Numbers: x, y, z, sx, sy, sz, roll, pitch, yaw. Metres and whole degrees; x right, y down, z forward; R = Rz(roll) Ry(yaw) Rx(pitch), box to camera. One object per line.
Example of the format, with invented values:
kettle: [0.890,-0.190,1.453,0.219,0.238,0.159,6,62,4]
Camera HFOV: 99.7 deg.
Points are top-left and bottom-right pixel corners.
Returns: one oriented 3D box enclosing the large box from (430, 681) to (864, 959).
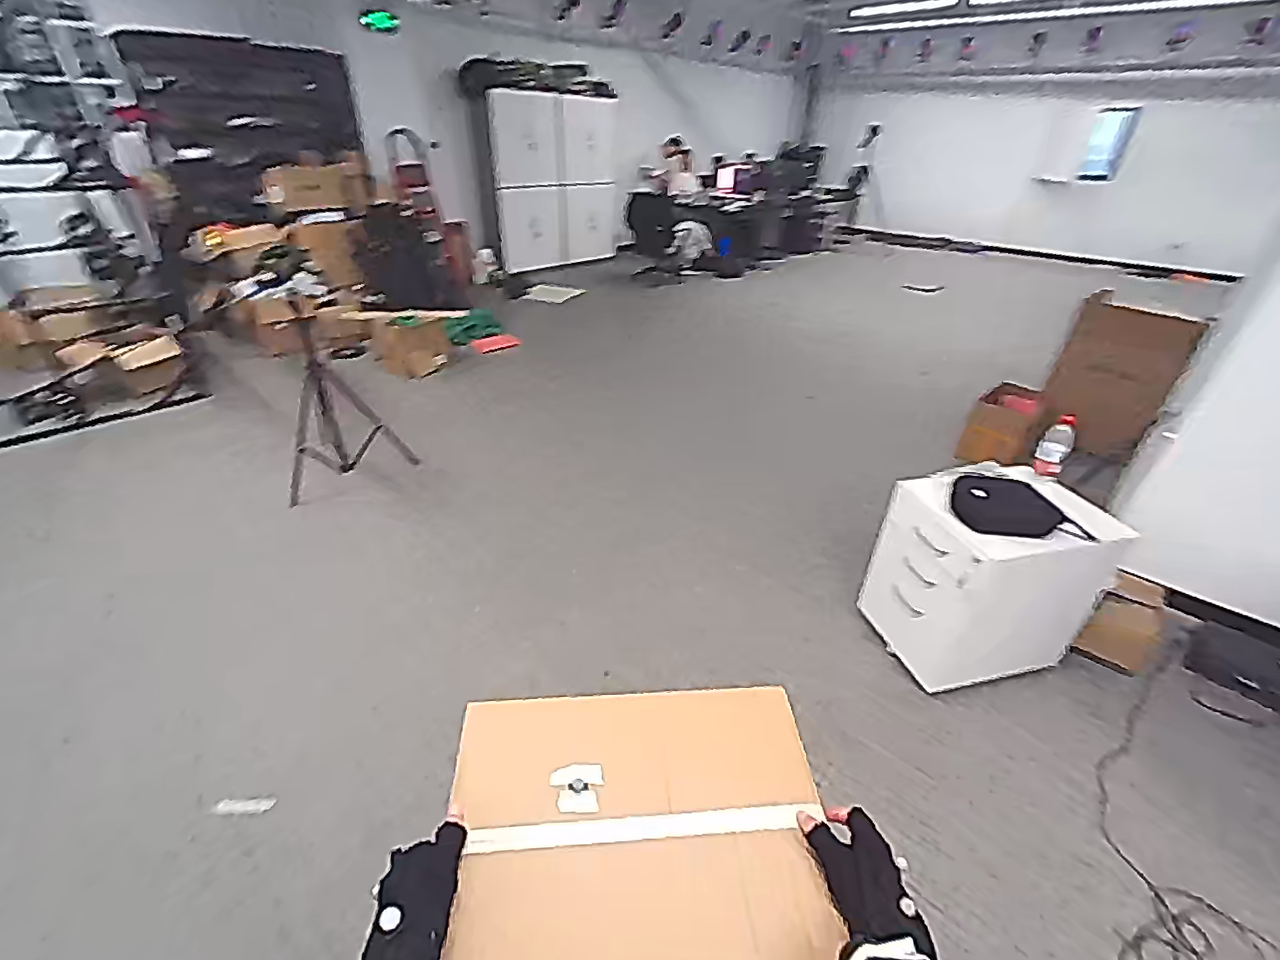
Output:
large box: [-0.008,0.487,0.672,0.408,0.320,0.320,-3,39,-6]
